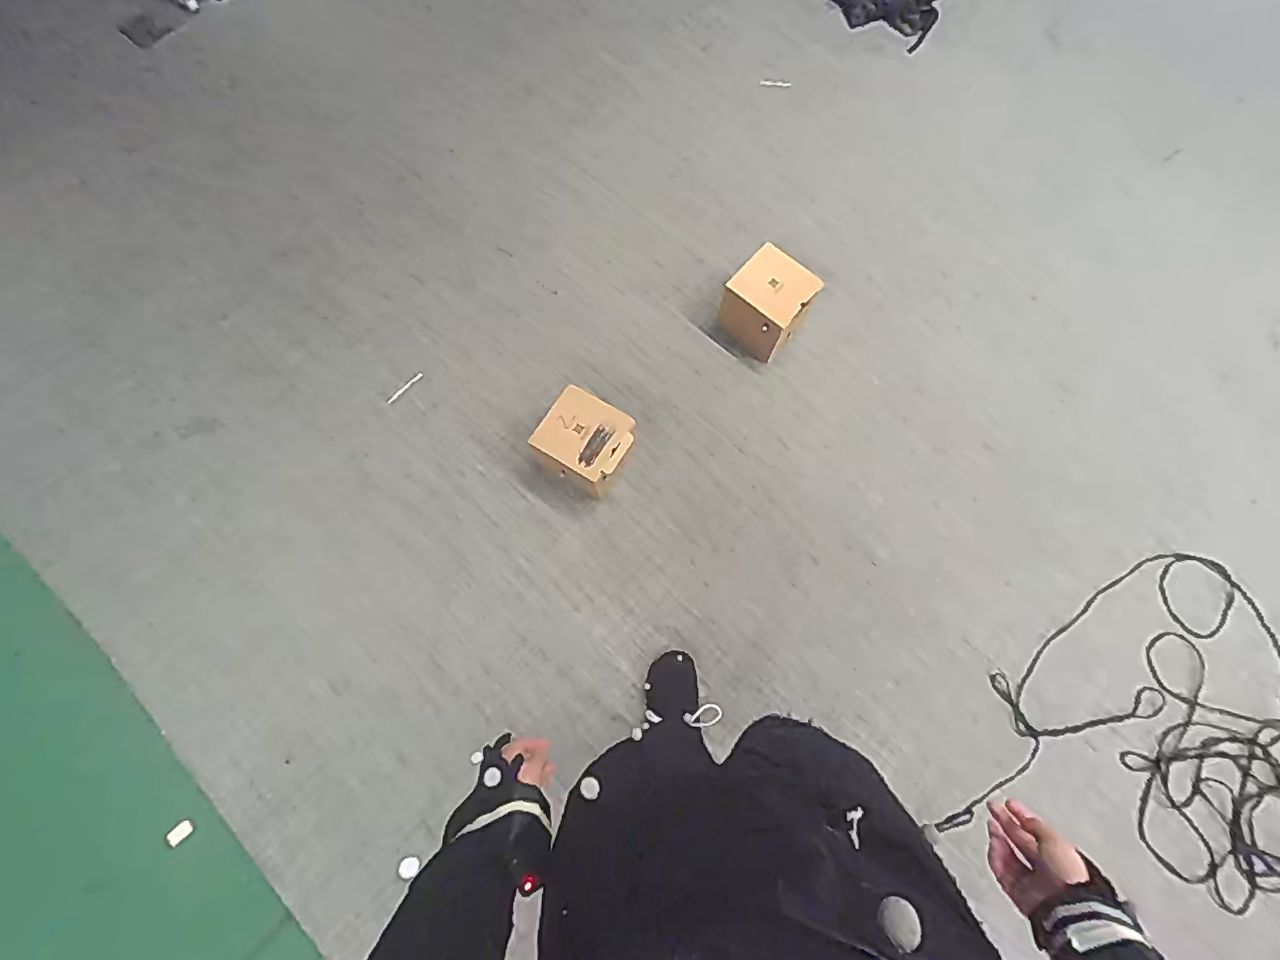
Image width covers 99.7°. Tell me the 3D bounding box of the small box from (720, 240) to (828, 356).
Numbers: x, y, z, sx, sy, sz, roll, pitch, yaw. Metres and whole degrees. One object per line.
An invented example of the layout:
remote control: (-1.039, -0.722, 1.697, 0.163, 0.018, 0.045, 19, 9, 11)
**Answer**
small box: (0.319, -0.439, 1.332, 0.179, 0.176, 0.168, 41, 78, 9)
